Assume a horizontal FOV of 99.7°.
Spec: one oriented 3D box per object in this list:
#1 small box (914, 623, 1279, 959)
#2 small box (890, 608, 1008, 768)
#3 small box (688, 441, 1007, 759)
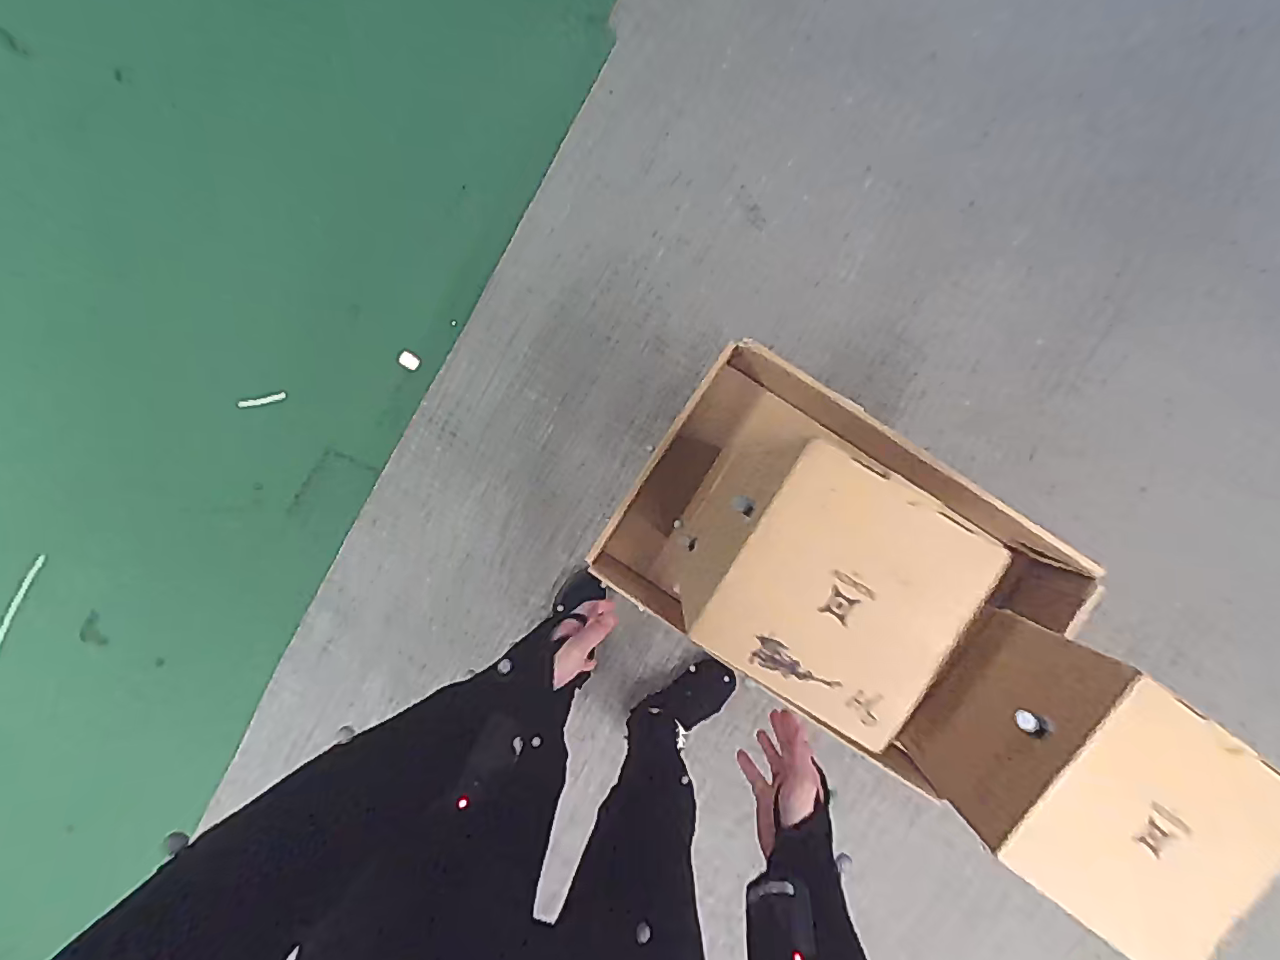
[{"bbox_3d":[0.373,0.256,0.467,0.168,0.176,0.179,37,92,2],"label":"small box"},{"bbox_3d":[0.378,0.251,0.630,0.168,0.176,0.179,36,92,2],"label":"small box"},{"bbox_3d":[0.150,0.084,0.465,0.168,0.176,0.179,32,93,2],"label":"small box"}]
